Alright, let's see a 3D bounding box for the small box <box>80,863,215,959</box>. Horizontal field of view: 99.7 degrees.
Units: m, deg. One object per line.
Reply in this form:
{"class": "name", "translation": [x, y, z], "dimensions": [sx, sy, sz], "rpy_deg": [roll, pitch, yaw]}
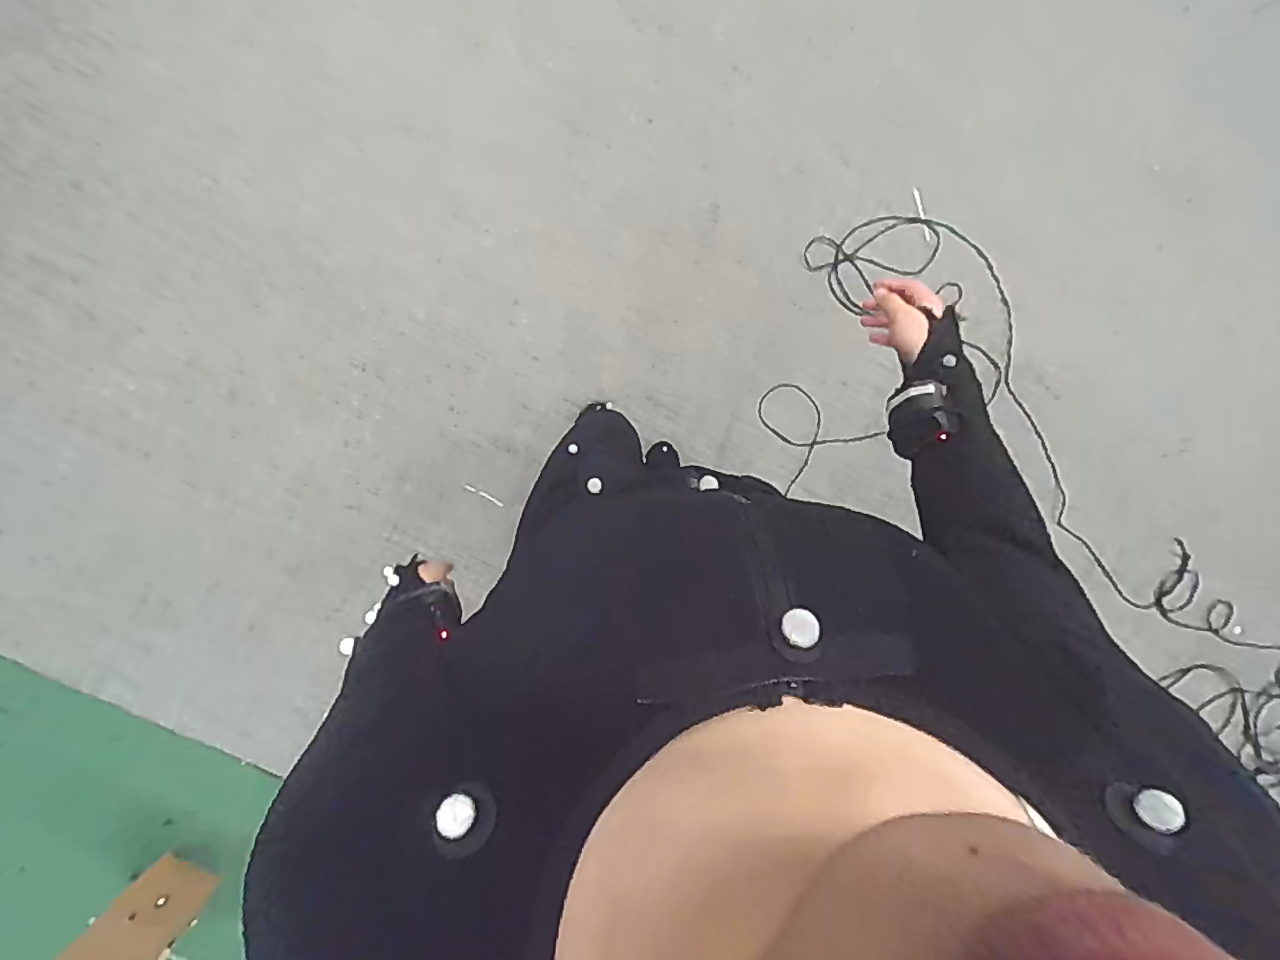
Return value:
{"class": "small box", "translation": [-1.320, 1.191, 1.462], "dimensions": [0.179, 0.176, 0.168], "rpy_deg": [31, 93, -4]}
